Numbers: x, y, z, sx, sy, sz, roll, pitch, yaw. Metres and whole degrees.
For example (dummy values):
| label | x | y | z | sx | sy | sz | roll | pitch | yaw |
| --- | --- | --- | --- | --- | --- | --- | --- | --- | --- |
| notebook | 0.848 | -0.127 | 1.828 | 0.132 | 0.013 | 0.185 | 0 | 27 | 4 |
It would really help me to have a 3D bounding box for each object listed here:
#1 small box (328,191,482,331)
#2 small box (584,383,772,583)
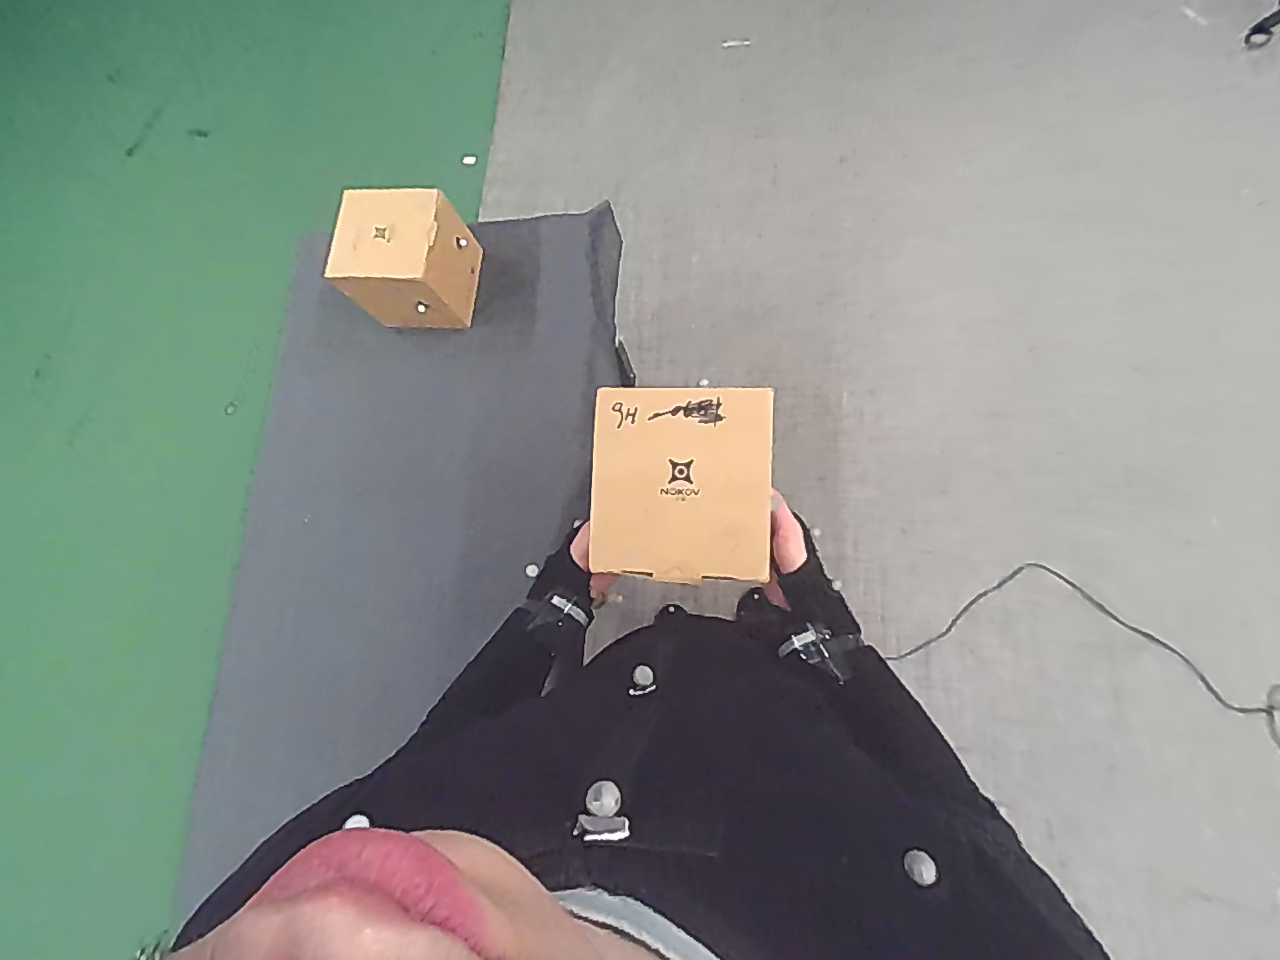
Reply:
| label | x | y | z | sx | sy | sz | roll | pitch | yaw |
| --- | --- | --- | --- | --- | --- | --- | --- | --- | --- |
| small box | -0.400 | -0.377 | 0.952 | 0.179 | 0.176 | 0.168 | 3 | 77 | 10 |
| small box | 0.045 | 0.004 | 0.562 | 0.168 | 0.176 | 0.179 | 2 | 86 | 9 |
